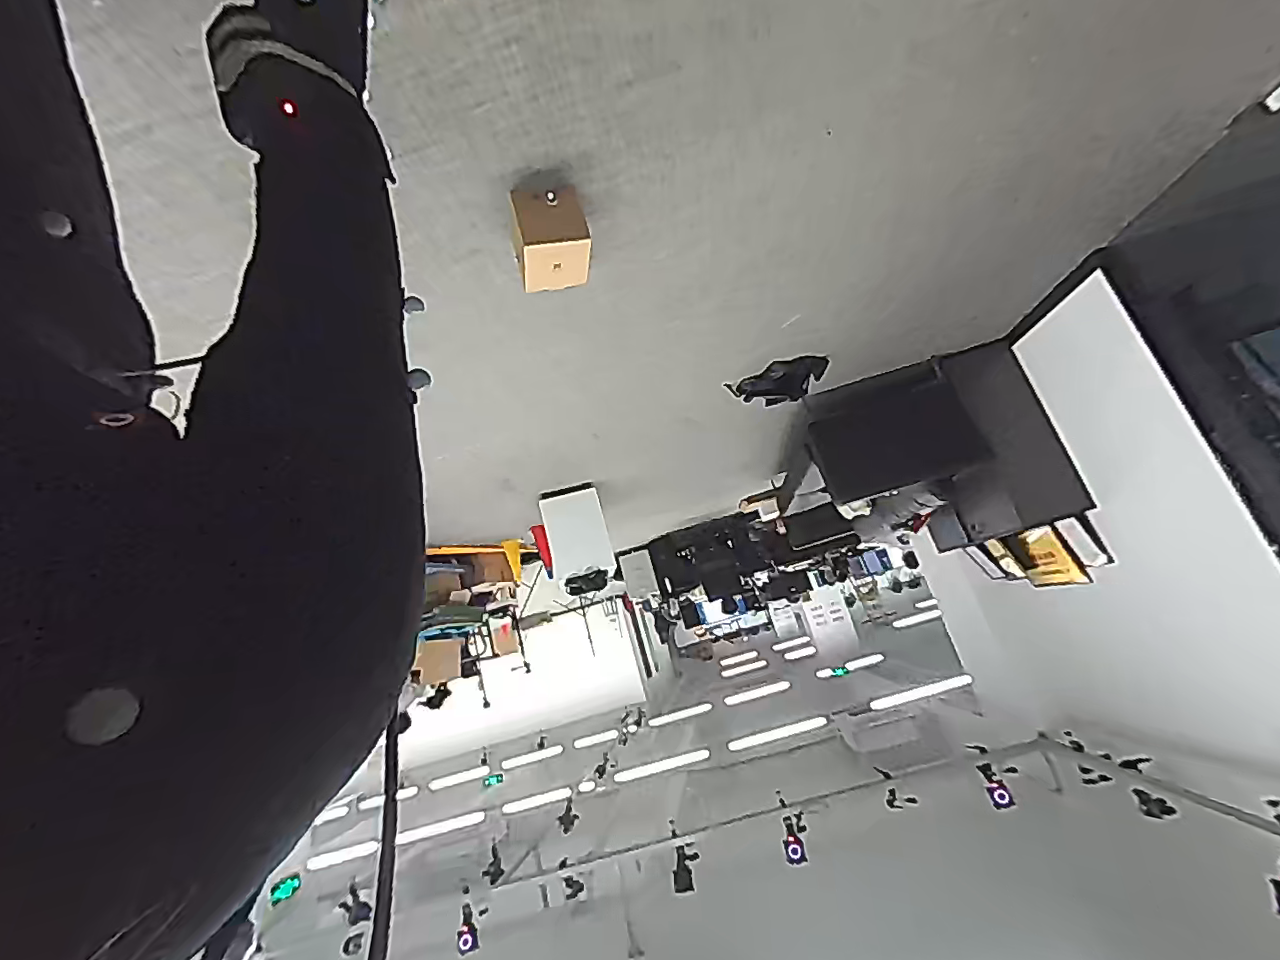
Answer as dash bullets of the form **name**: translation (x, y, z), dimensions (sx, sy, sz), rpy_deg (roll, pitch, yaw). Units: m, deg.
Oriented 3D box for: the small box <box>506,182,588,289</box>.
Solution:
- **small box**: translation (-0.237, -0.617, 1.368), dimensions (0.168, 0.176, 0.179), rpy_deg (-14, 164, -14)
